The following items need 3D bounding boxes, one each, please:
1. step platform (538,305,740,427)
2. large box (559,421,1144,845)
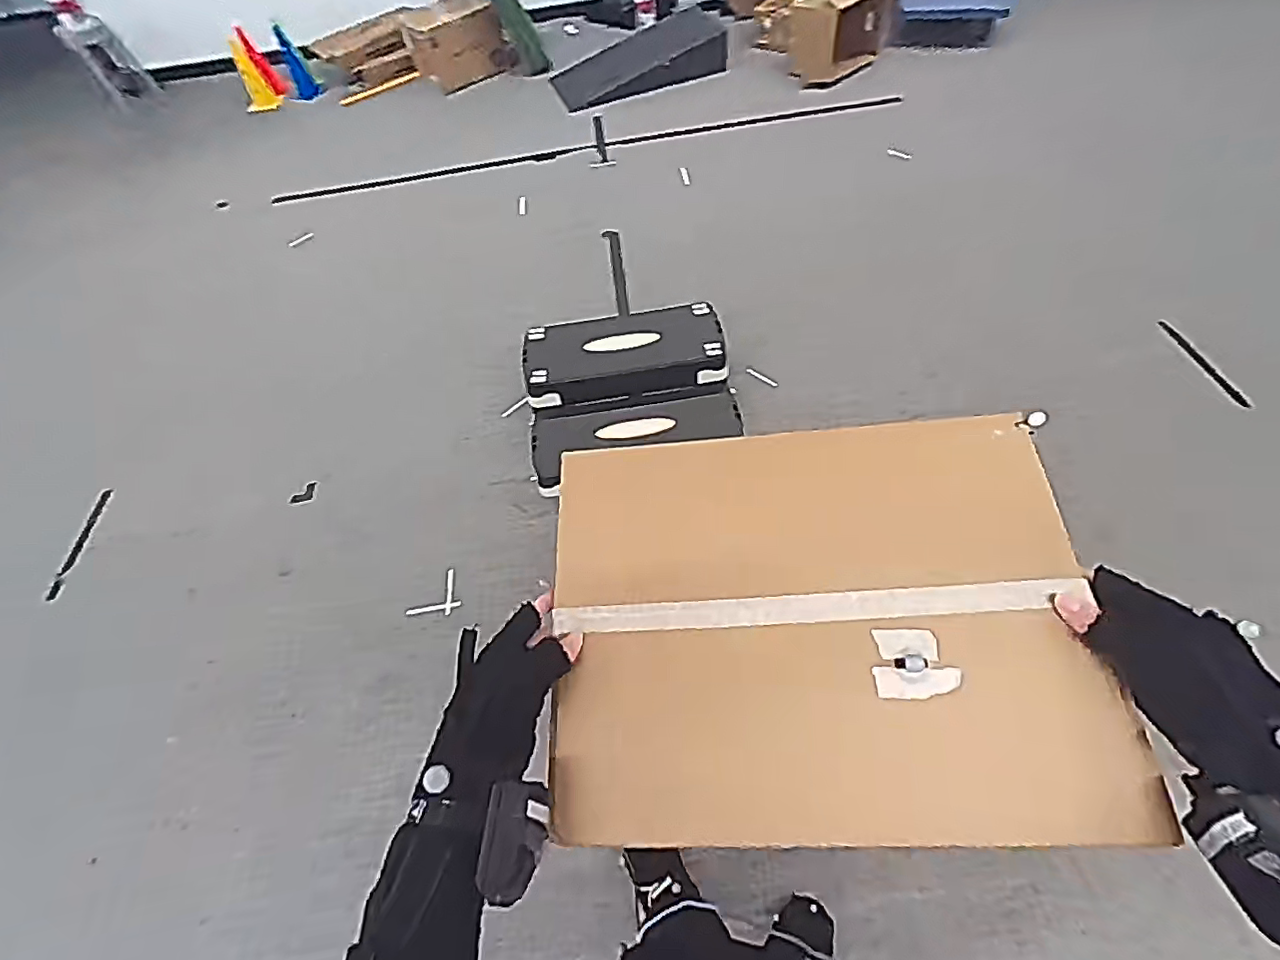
[{"bbox_3d":[-0.005,-0.397,1.860,0.684,0.204,0.286,-9,57,0],"label":"step platform"},{"bbox_3d":[0.148,0.168,0.569,0.408,0.320,0.320,-5,65,6],"label":"large box"}]
